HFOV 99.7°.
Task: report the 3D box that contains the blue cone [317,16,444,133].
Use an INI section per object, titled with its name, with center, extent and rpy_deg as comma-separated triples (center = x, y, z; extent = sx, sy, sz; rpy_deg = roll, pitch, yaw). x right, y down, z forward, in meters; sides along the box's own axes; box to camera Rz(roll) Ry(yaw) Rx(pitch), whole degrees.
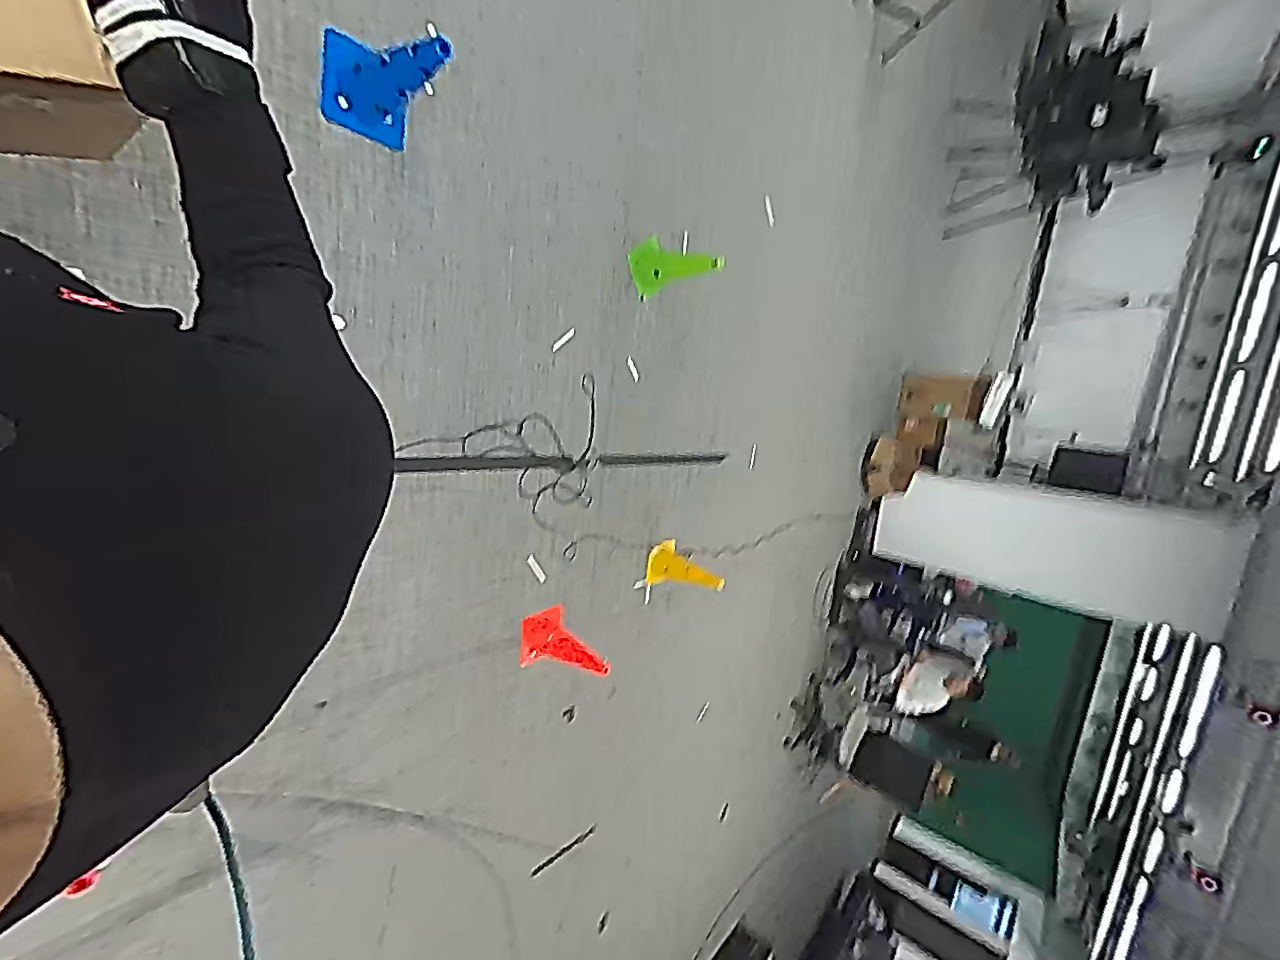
[blue cone]
center = -0.554, -0.938, 1.207
extent = 0.193, 0.380, 0.192
rpy_deg = -1, 100, -51

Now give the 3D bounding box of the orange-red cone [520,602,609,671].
[orange-red cone]
center = -0.256, 0.624, 2.027
extent = 0.199, 0.360, 0.198
rpy_deg = -10, 110, -51

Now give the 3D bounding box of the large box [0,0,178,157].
[large box]
center = -0.583, -0.394, 0.293
extent = 0.408, 0.320, 0.320
rpy_deg = -24, 121, -45

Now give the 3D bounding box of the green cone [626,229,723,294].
[green cone]
center = 0.159, -0.855, 2.082
extent = 0.200, 0.368, 0.202
rpy_deg = -49, 133, -31
